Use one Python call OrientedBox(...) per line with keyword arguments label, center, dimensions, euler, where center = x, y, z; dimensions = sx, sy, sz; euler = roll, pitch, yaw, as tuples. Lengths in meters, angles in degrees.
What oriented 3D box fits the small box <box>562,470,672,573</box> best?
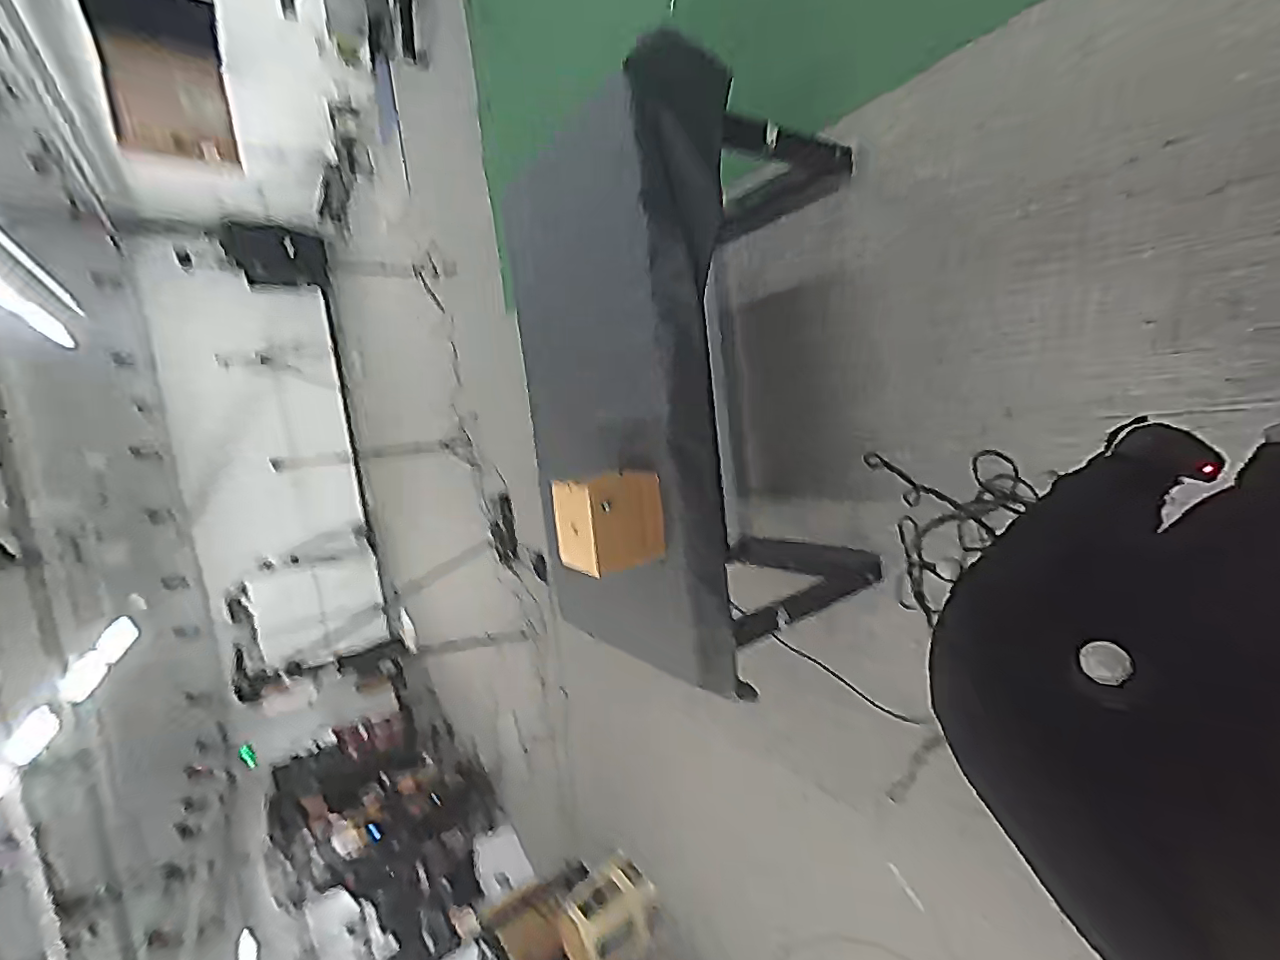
OrientedBox(label="small box", center=(-0.046, 0.079, 1.140), dimensions=(0.168, 0.176, 0.179), euler=(5, 102, 57))
